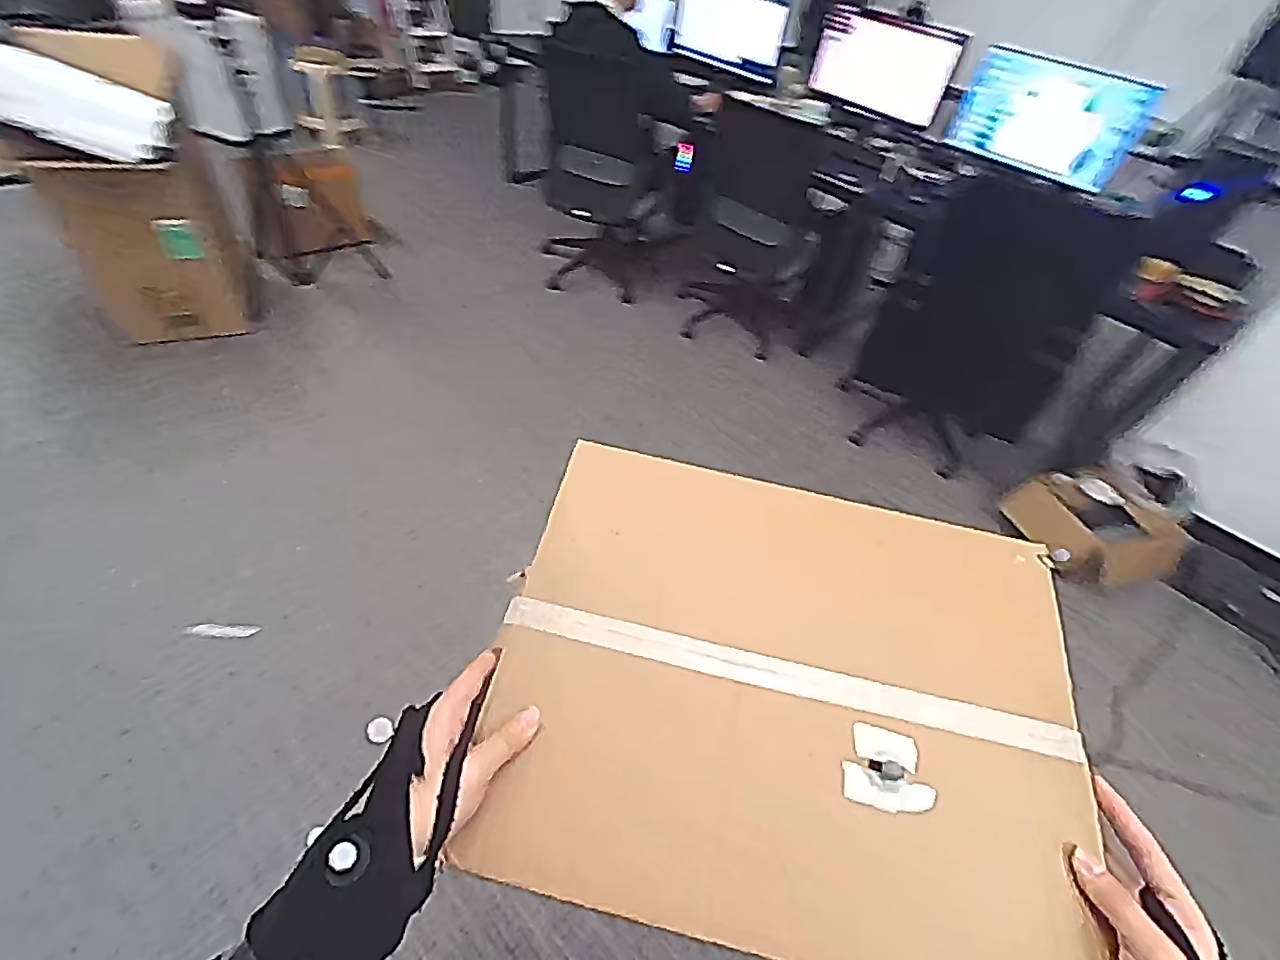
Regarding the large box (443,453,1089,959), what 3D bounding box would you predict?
[{"bbox_3d":[0.088,0.215,0.523,0.408,0.320,0.320,12,60,3],"label":"large box"}]
